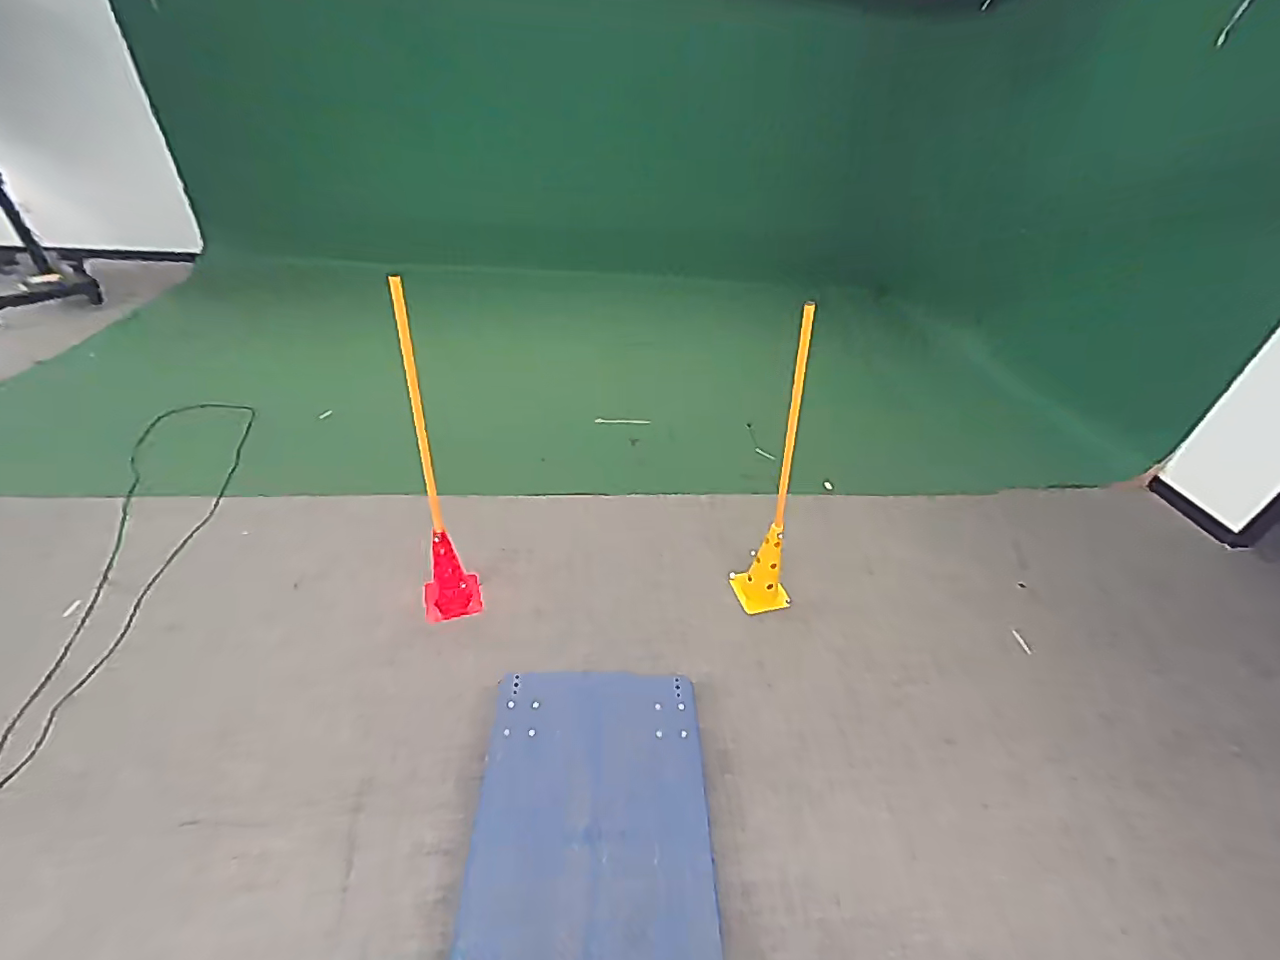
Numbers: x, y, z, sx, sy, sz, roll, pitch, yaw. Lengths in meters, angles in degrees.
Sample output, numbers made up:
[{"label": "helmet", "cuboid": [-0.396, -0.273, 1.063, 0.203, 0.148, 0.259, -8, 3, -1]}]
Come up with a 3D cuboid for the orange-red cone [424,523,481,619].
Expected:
[{"label": "orange-red cone", "cuboid": [-0.693, 0.297, 1.918, 0.199, 0.360, 0.198, -10, 40, -17]}]
